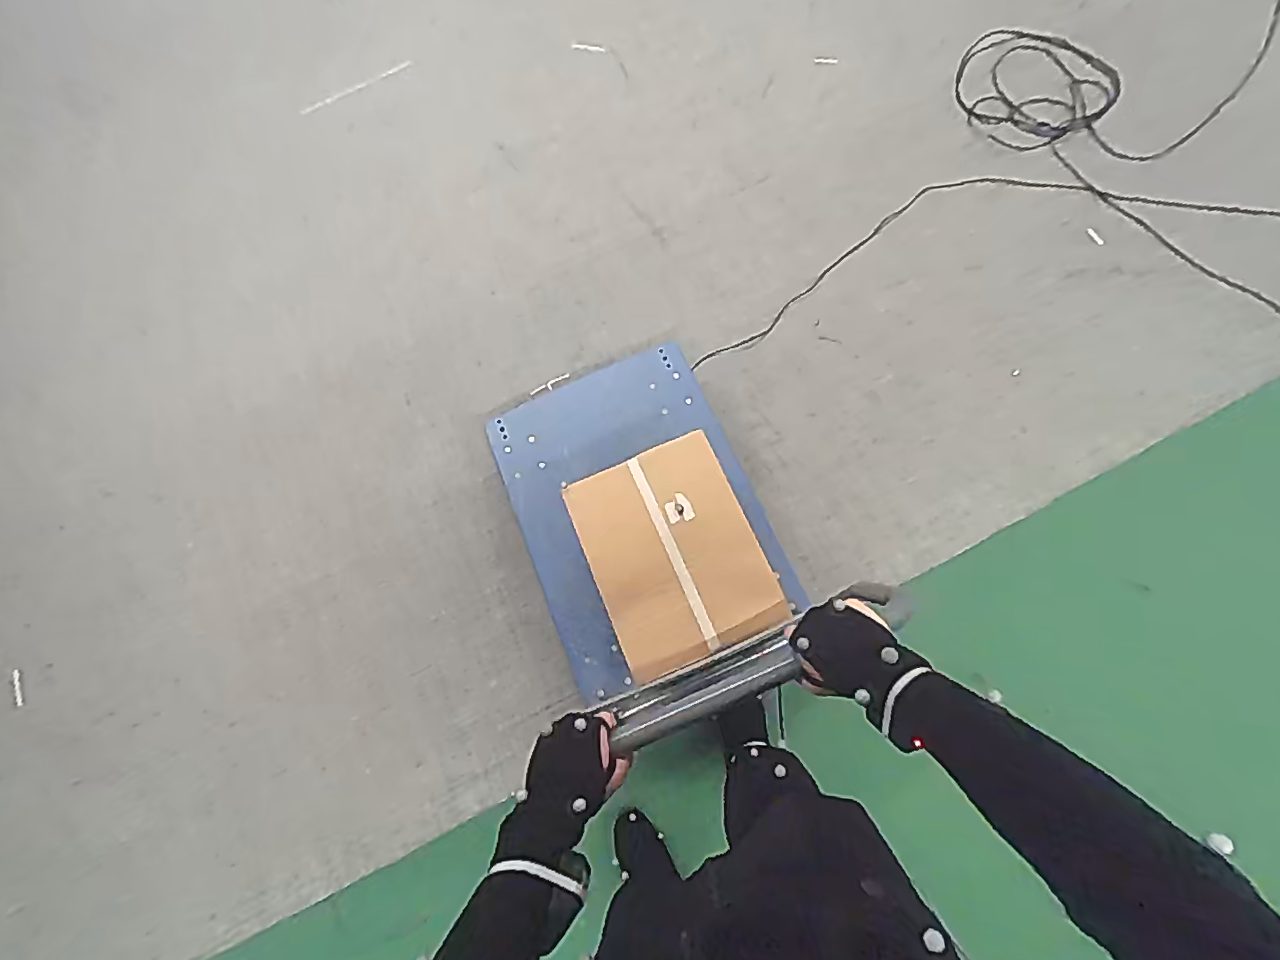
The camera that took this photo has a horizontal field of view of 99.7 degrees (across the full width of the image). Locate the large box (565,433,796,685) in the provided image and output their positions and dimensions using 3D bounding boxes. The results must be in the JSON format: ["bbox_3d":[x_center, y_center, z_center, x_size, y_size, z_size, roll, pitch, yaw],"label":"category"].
[{"bbox_3d":[0.082,0.178,1.163,0.320,0.320,0.408,-23,72,-2],"label":"large box"}]
